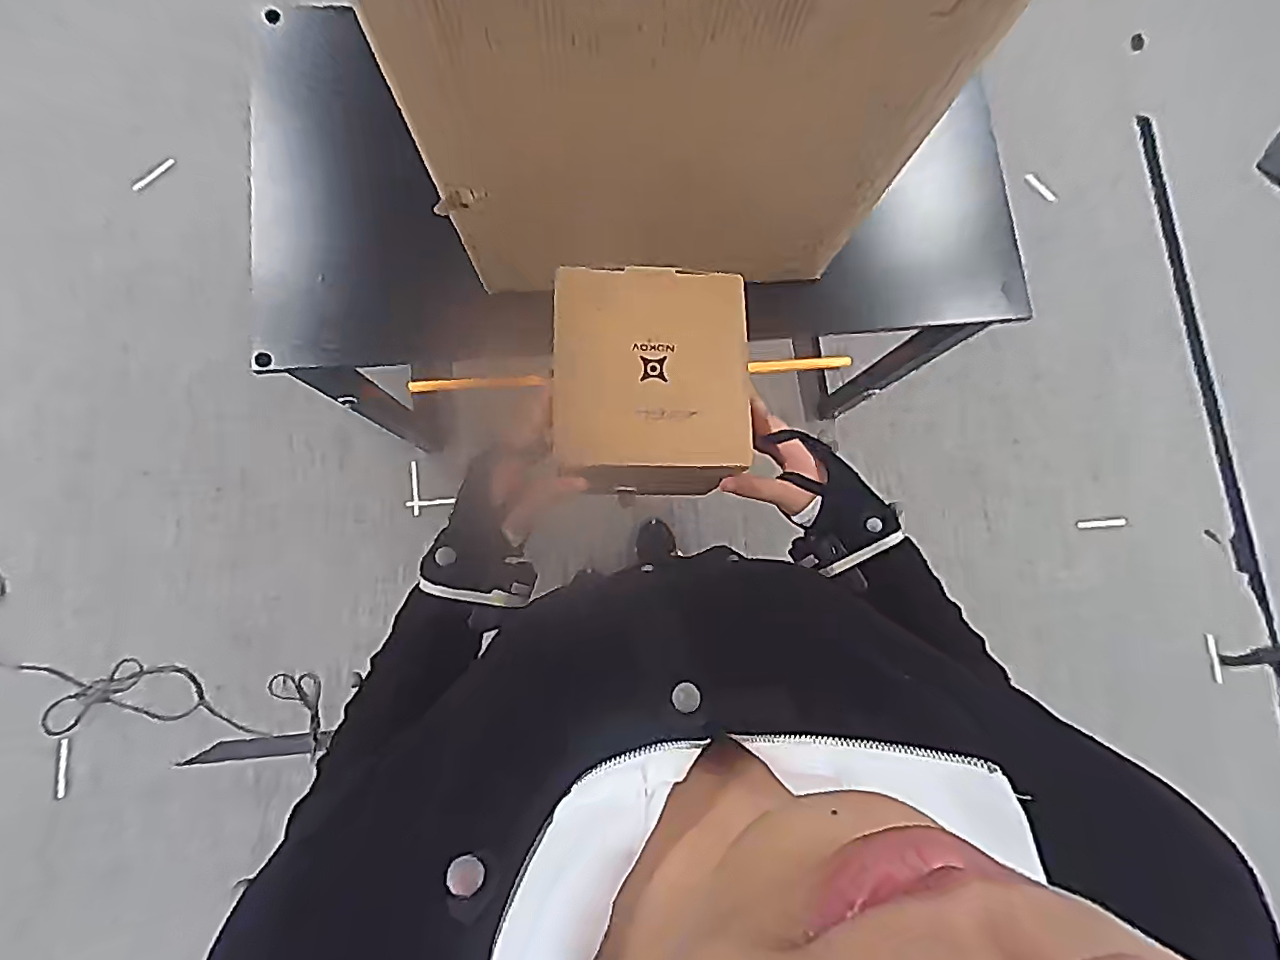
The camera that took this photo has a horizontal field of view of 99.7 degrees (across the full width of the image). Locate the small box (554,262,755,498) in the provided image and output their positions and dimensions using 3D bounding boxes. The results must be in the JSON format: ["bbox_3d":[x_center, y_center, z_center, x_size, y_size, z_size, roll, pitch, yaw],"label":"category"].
[{"bbox_3d":[0.003,-0.082,0.524,0.168,0.176,0.179,0,80,-6],"label":"small box"}]
